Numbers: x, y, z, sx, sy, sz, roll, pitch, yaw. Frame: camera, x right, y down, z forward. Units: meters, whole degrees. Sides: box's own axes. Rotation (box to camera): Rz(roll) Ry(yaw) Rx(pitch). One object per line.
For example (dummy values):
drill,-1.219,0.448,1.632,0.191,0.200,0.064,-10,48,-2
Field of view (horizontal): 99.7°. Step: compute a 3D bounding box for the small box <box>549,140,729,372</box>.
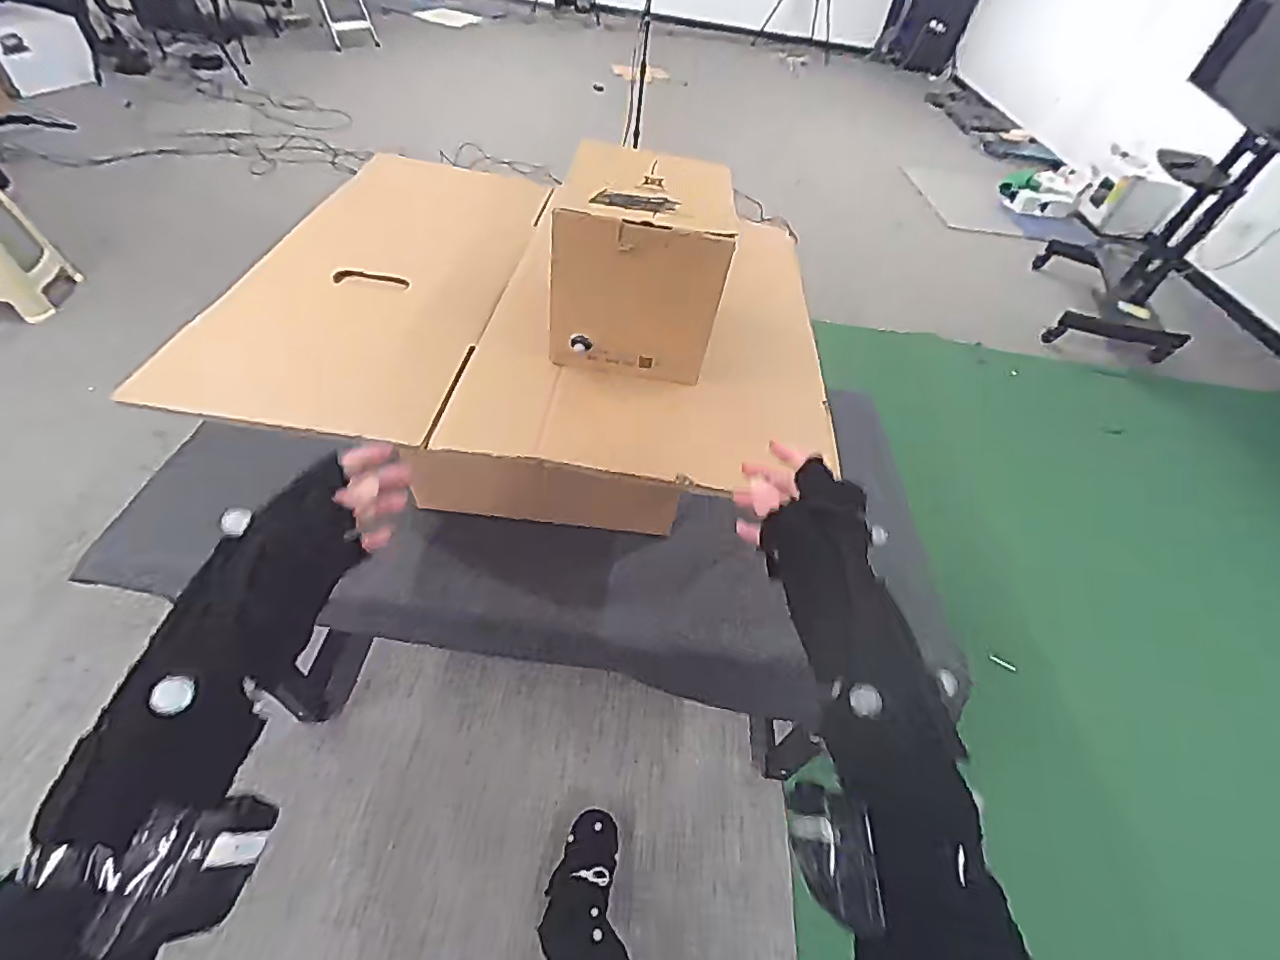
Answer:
small box,-0.003,-0.241,0.595,0.168,0.176,0.179,8,48,-3
